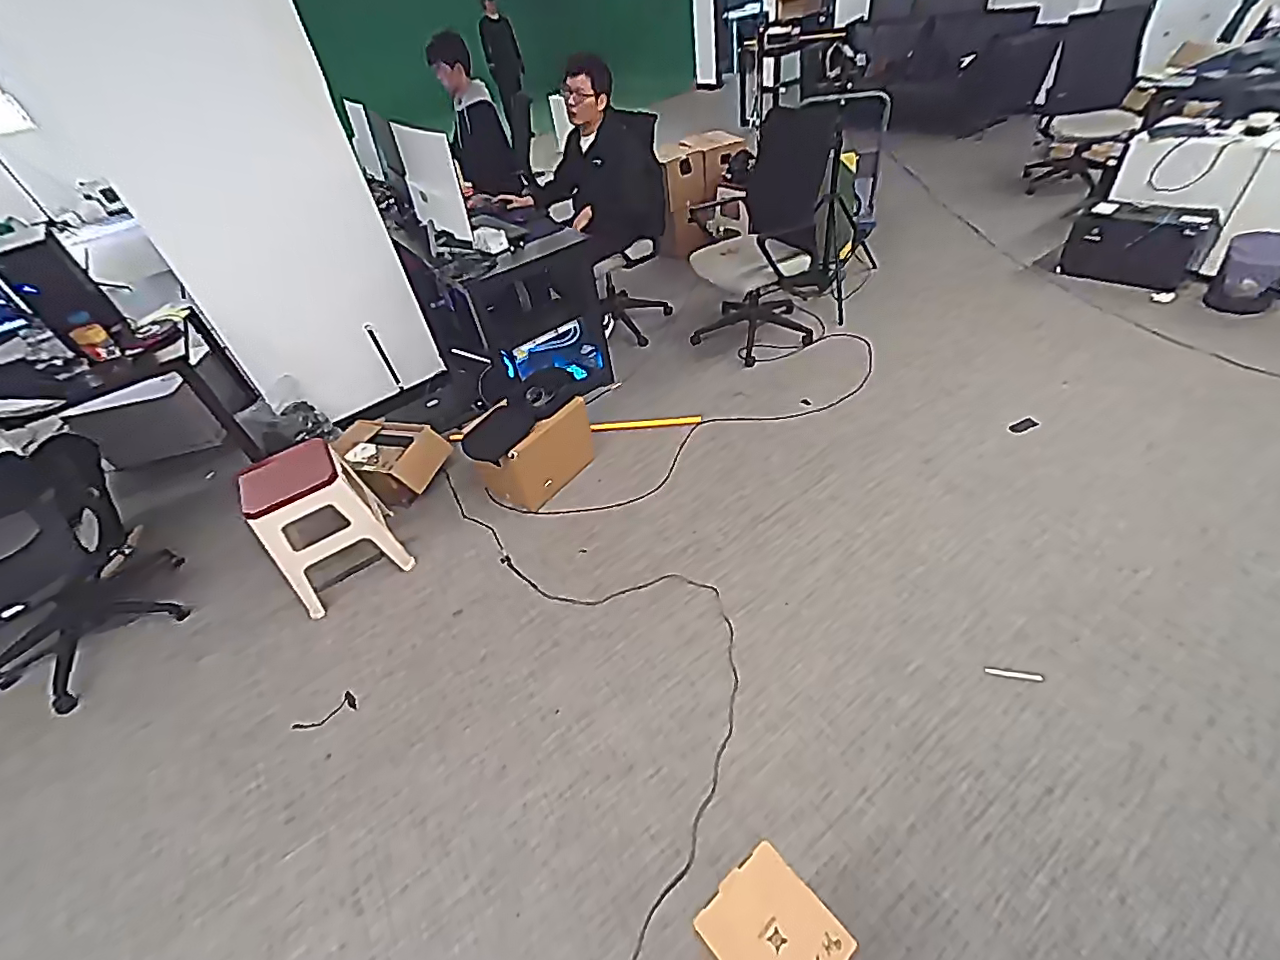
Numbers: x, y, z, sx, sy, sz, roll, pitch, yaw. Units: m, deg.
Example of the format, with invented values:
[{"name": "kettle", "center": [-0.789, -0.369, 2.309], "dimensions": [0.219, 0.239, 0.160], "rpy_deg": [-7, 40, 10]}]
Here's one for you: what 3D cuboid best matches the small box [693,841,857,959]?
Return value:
[{"name": "small box", "center": [0.202, 0.717, 0.838], "dimensions": [0.168, 0.176, 0.179], "rpy_deg": [-34, 48, -23]}]
